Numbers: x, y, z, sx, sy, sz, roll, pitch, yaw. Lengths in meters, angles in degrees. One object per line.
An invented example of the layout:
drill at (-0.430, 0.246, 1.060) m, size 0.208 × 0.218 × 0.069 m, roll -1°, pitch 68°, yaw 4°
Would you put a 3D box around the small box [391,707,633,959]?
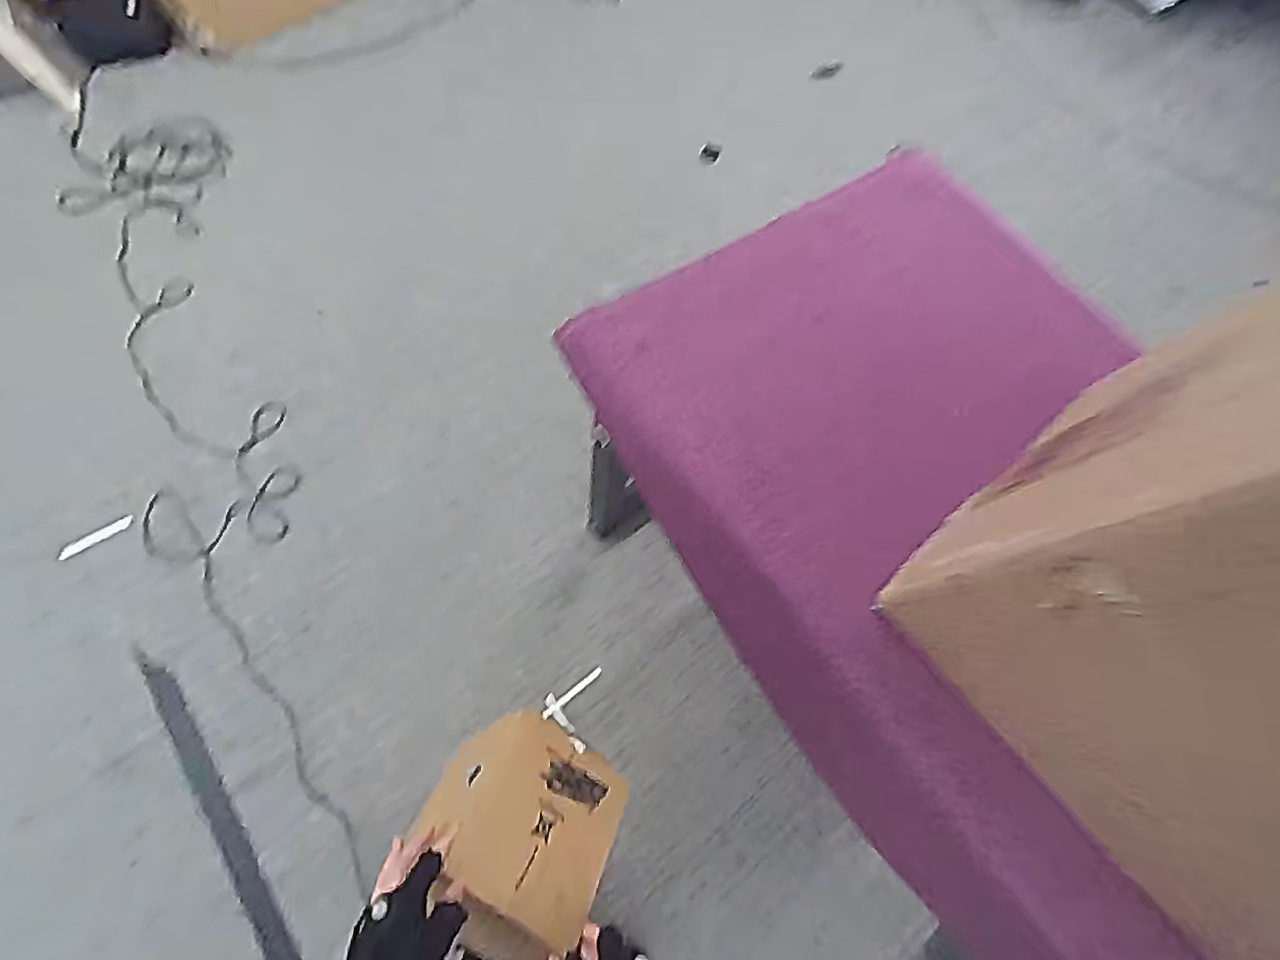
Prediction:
small box at (-0.141, 0.396, 0.605) m, size 0.168 × 0.176 × 0.179 m, roll 43°, pitch 37°, yaw -9°
